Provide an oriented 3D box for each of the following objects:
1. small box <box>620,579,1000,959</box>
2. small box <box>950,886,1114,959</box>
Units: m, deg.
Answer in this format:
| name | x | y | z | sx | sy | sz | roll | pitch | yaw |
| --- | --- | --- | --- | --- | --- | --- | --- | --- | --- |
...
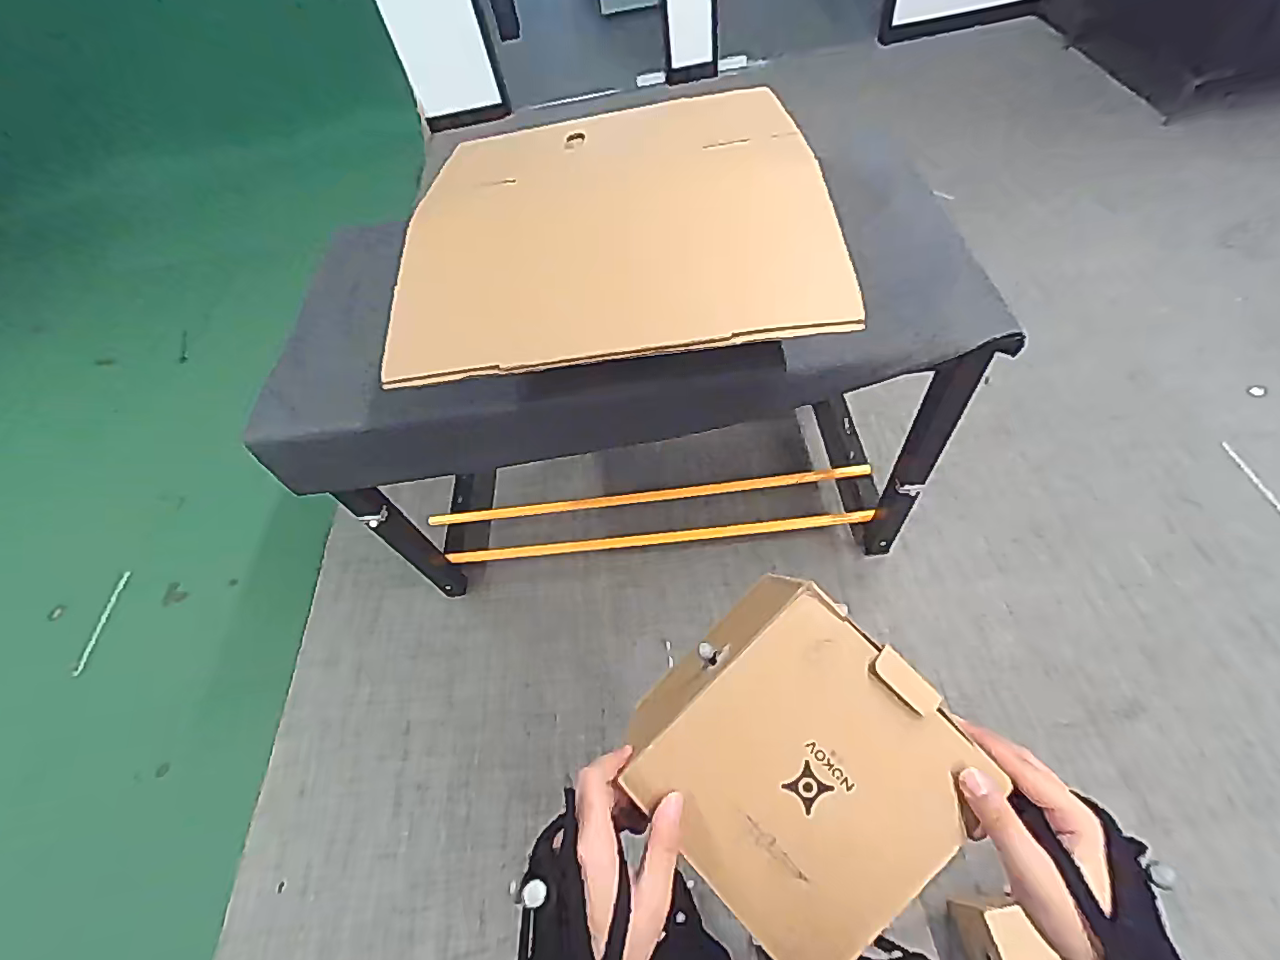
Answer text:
| name | x | y | z | sx | sy | sz | roll | pitch | yaw |
| --- | --- | --- | --- | --- | --- | --- | --- | --- | --- |
| small box | 0.106 | 0.189 | 0.409 | 0.179 | 0.176 | 0.168 | -45 | 81 | -3 |
| small box | 0.650 | 0.788 | 0.889 | 0.168 | 0.176 | 0.179 | -12 | 55 | 1 |
